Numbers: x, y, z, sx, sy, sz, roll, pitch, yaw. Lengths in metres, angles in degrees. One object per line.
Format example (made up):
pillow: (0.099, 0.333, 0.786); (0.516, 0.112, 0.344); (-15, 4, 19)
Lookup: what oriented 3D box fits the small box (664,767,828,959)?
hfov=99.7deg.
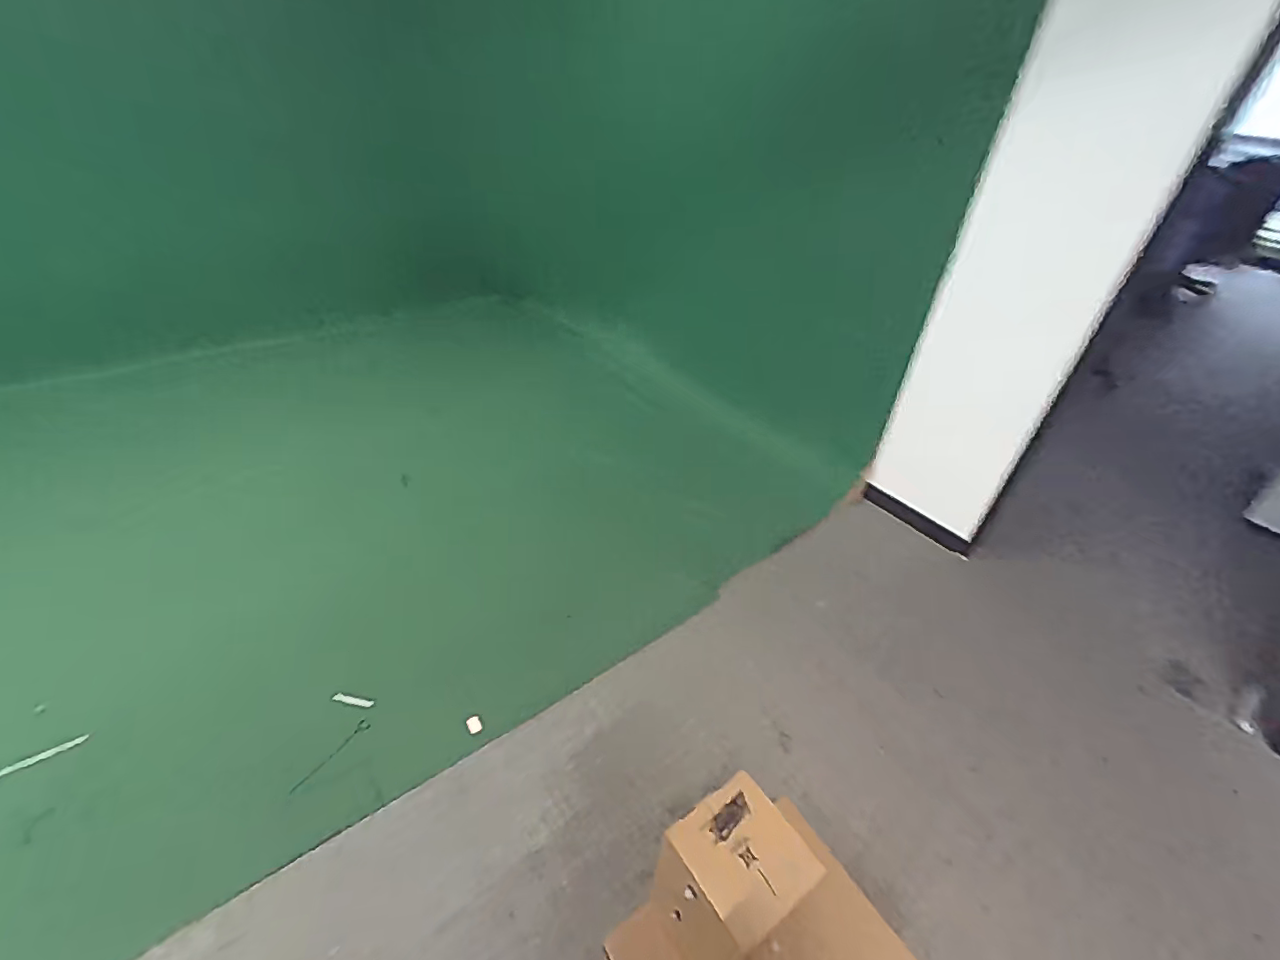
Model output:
small box: (0.151, 0.597, 0.833); (0.168, 0.176, 0.179); (-22, 43, -29)

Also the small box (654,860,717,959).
small box: (0.141, 0.725, 0.940); (0.179, 0.176, 0.168); (-20, 43, -29)
